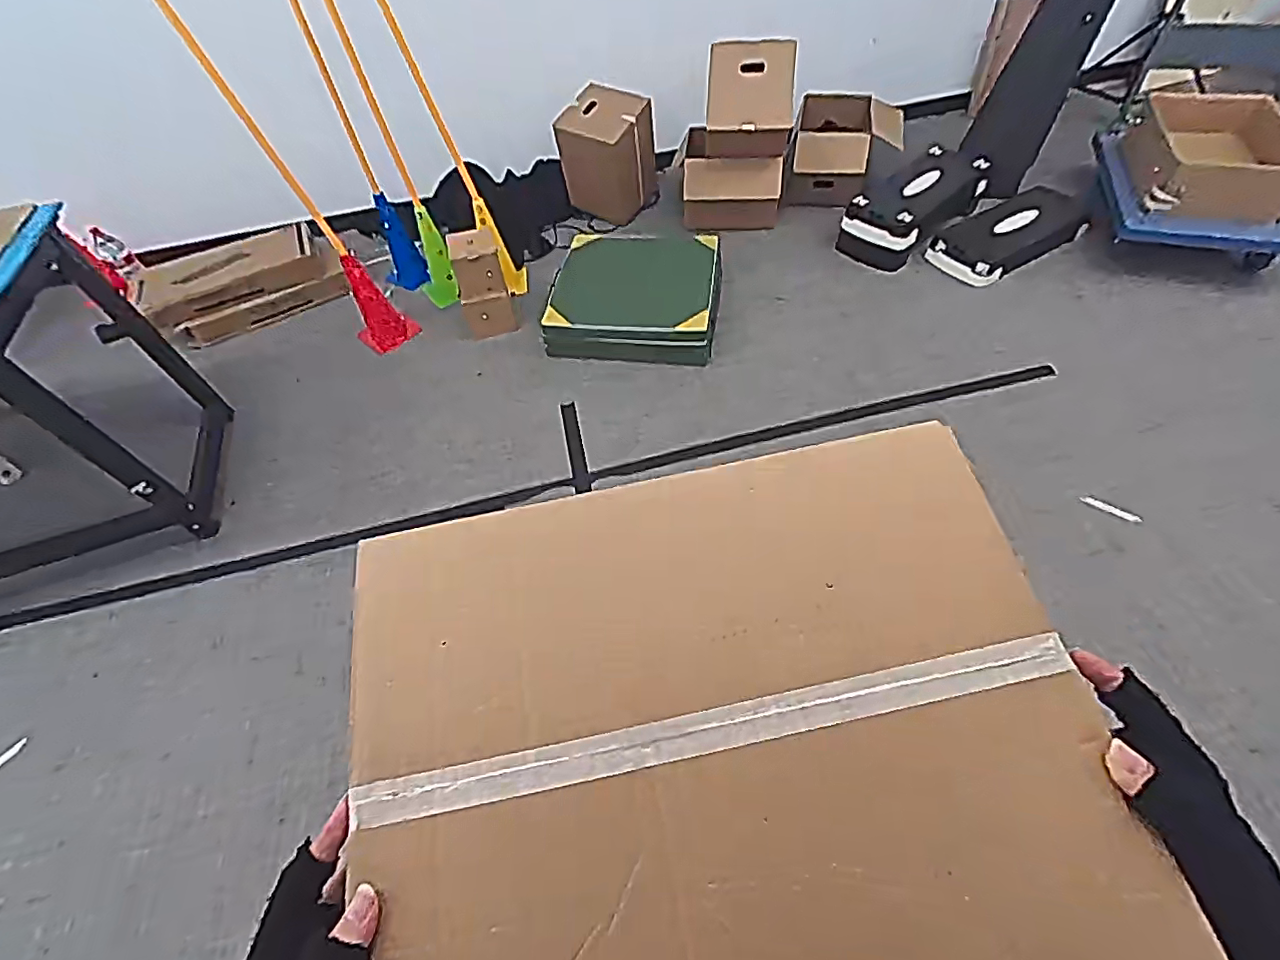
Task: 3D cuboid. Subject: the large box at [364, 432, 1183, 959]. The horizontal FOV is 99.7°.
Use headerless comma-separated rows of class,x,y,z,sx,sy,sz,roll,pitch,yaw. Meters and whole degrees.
large box,0.050,0.202,0.449,0.408,0.320,0.320,-12,64,-1
